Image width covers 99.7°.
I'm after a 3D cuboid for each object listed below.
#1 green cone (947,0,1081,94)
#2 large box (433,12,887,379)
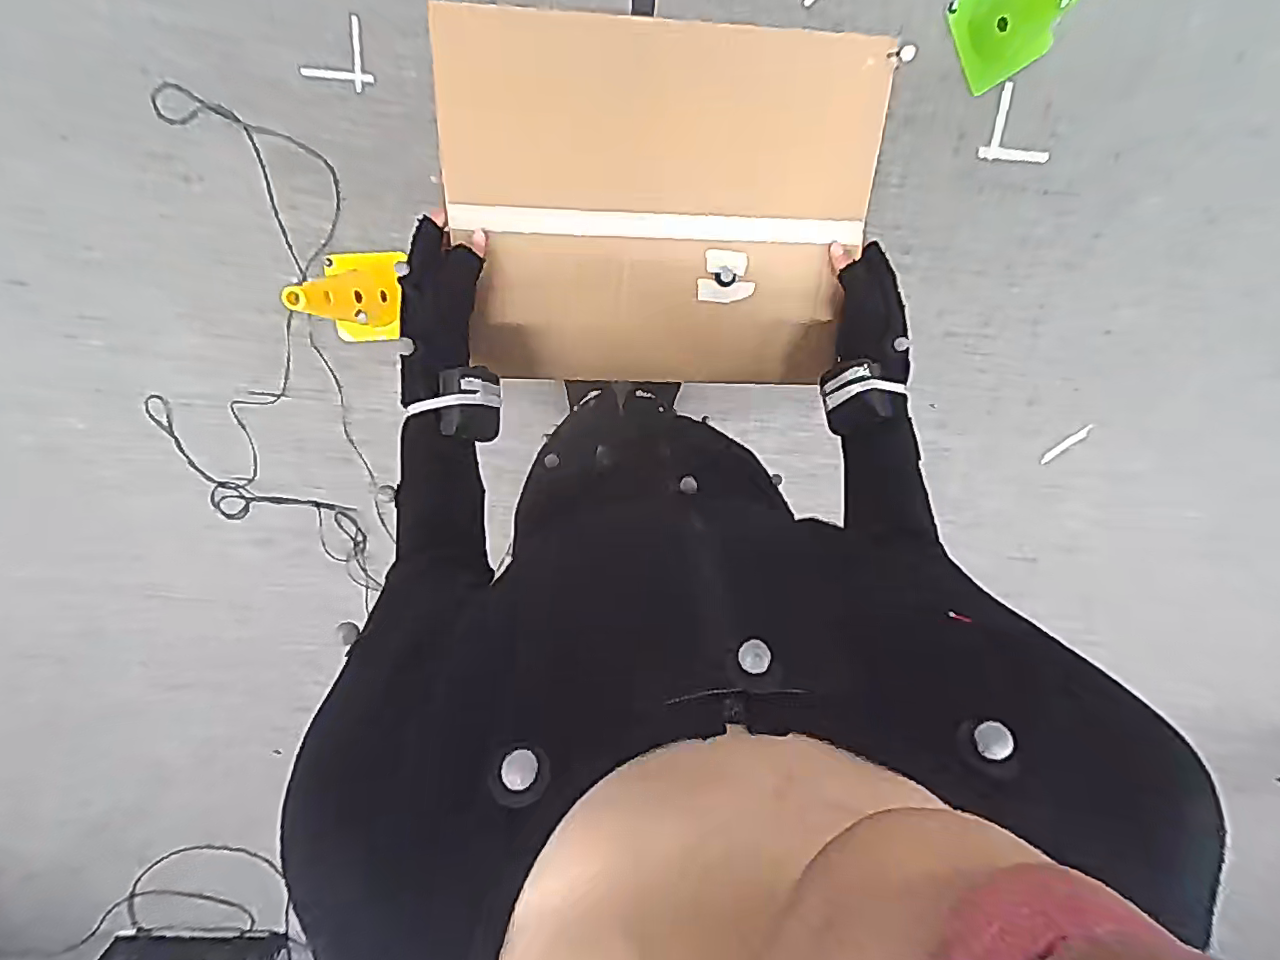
[{"bbox_3d":[0.813,-0.952,1.041,0.202,0.368,0.200,-32,108,6],"label":"green cone"},{"bbox_3d":[0.008,-0.314,0.661,0.408,0.320,0.320,0,116,-5],"label":"large box"}]
